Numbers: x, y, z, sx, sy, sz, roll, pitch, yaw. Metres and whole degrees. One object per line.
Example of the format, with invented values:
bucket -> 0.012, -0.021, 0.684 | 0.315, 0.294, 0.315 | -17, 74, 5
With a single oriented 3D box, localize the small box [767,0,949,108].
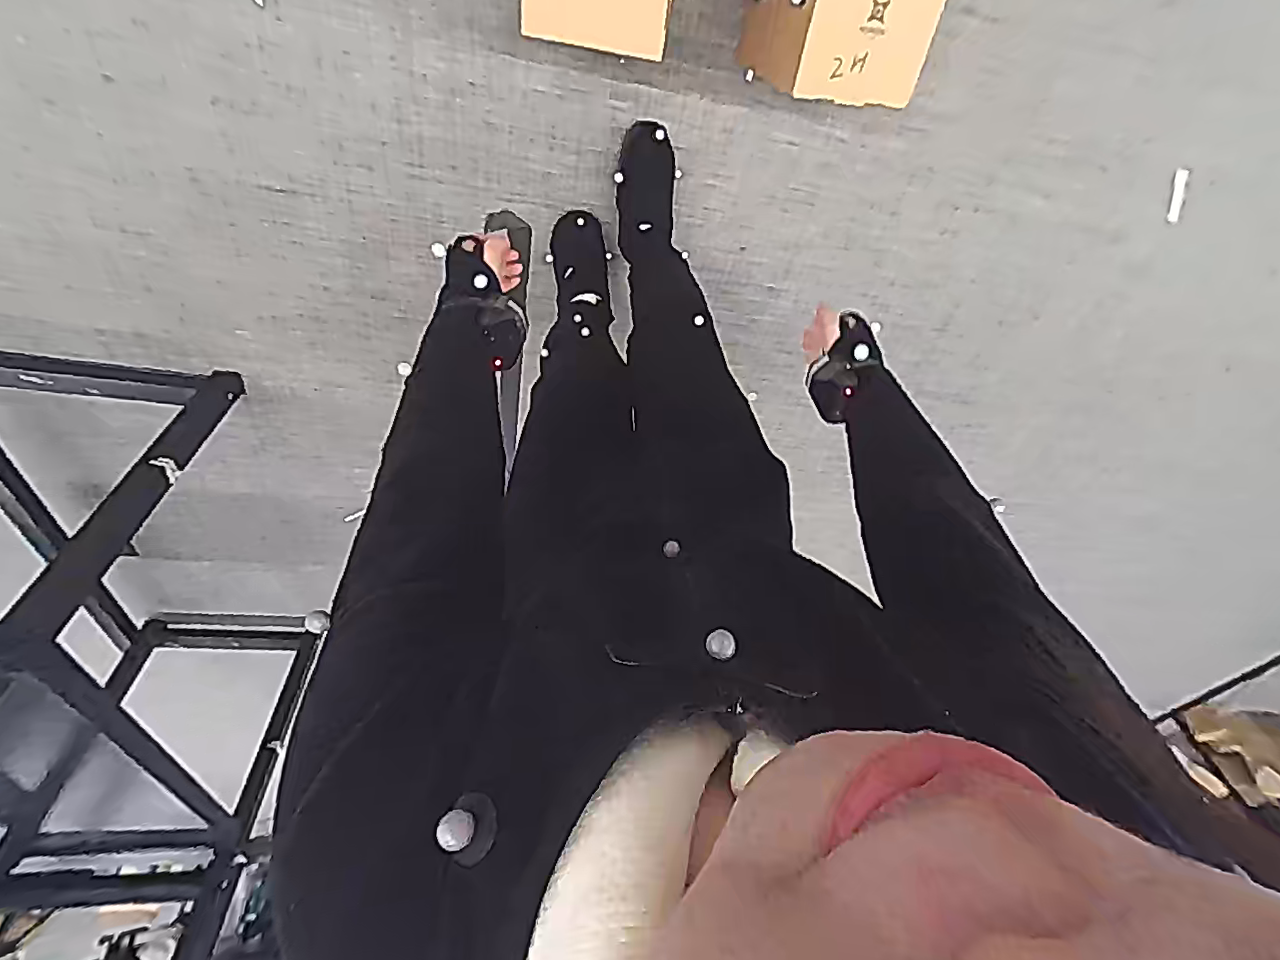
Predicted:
small box -> 0.281, -0.617, 0.711 | 0.168, 0.176, 0.179 | 1, 135, -8

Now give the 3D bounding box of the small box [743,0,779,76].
small box -> 0.265, -0.734, 0.827 | 0.168, 0.176, 0.179 | 0, 134, -7

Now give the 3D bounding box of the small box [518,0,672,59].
small box -> -0.051, -0.637, 0.650 | 0.179, 0.176, 0.168 | 4, 134, -10
